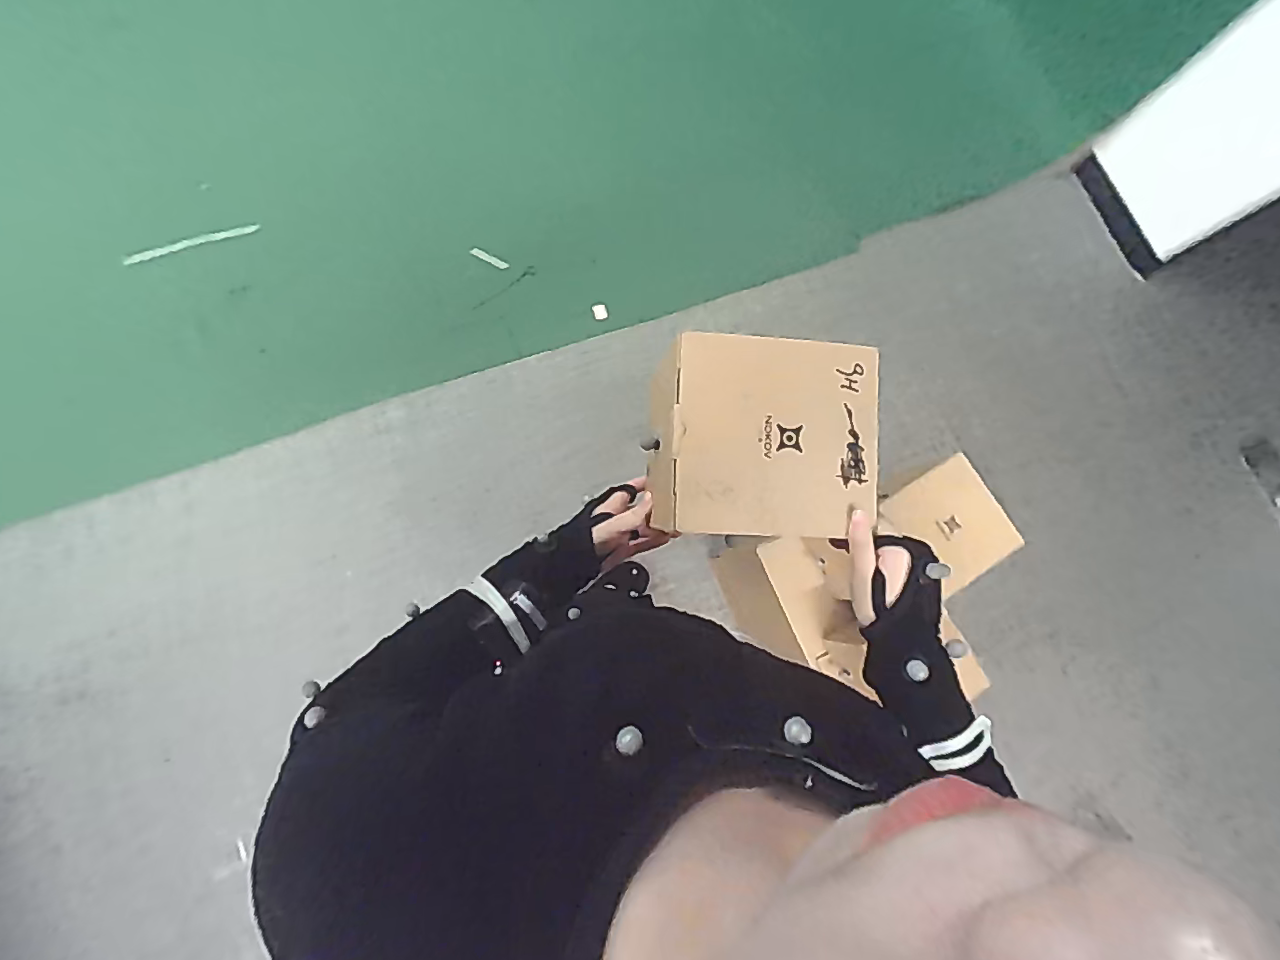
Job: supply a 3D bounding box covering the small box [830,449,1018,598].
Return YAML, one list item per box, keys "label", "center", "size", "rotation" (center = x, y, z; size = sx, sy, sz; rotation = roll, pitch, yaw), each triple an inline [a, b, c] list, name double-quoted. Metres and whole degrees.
- label: "small box"
  center: [0.451, 0.074, 0.885]
  size: [0.179, 0.176, 0.168]
  rotation: [-30, 85, -9]
